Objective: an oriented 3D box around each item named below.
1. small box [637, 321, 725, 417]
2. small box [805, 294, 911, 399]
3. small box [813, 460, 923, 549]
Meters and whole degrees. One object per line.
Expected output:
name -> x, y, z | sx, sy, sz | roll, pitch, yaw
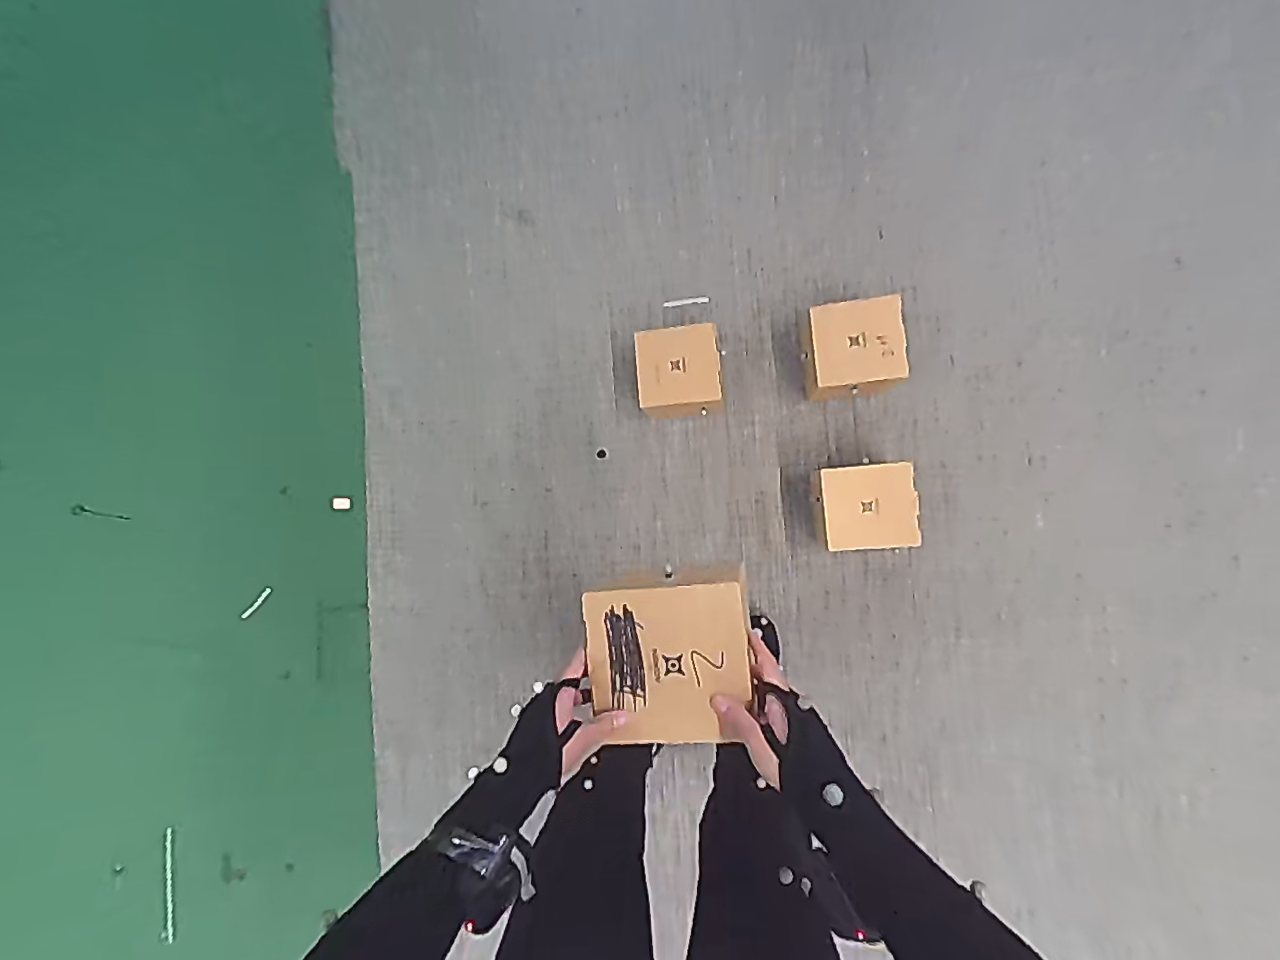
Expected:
small box -> 0.097, -0.239, 1.203 | 0.179, 0.176, 0.168 | -4, 86, 10
small box -> 0.447, -0.272, 1.139 | 0.179, 0.176, 0.168 | -5, 87, 10
small box -> 0.463, 0.053, 1.126 | 0.179, 0.176, 0.168 | -5, 87, 9
